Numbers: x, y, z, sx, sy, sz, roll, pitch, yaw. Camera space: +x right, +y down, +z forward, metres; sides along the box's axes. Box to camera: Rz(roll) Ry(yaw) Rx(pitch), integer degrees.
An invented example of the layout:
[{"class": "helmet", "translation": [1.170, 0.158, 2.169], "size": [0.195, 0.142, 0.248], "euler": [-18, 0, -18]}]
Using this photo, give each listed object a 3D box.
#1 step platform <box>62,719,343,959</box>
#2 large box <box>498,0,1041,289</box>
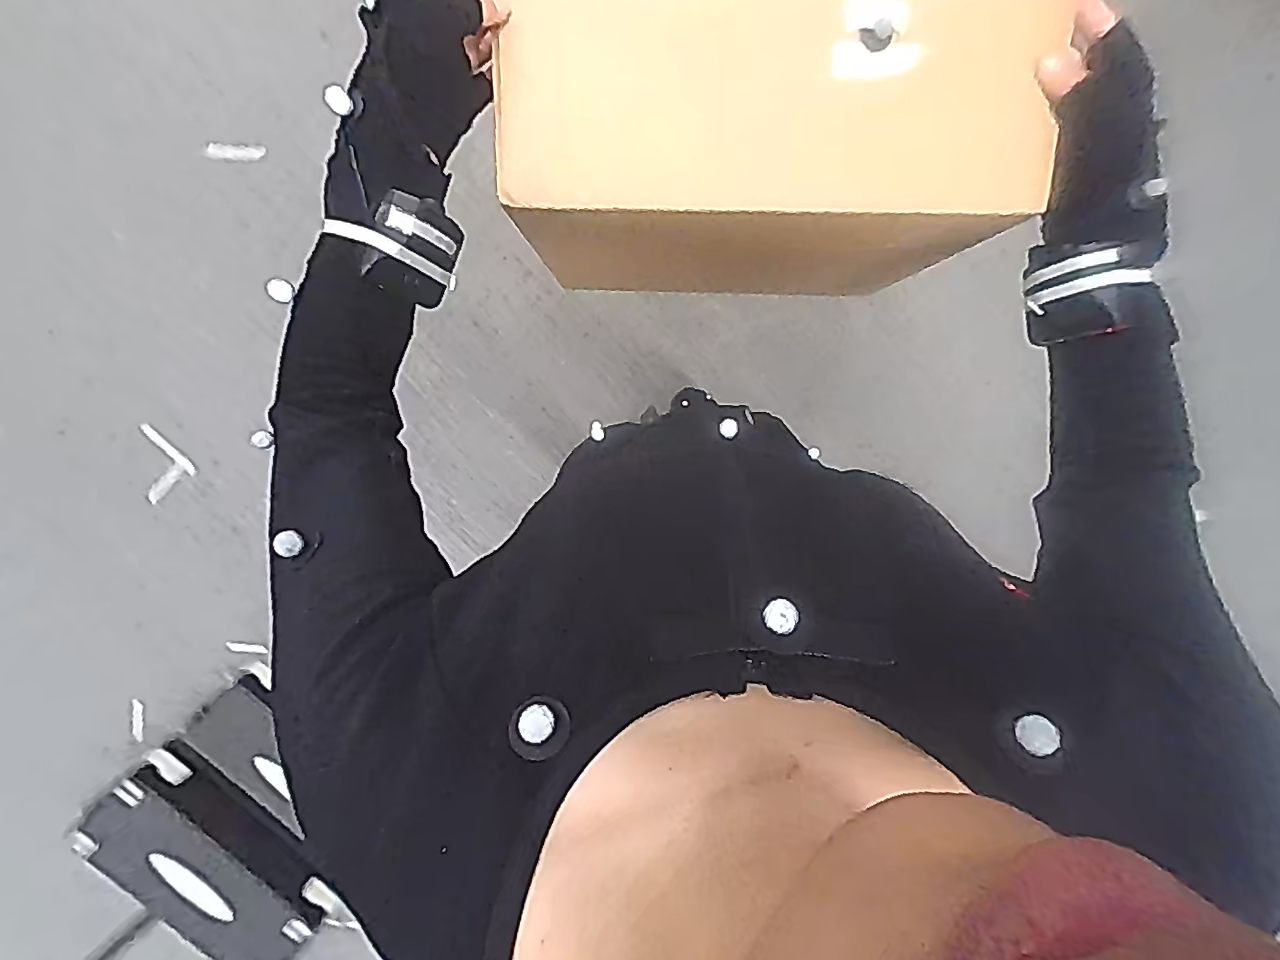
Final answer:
[{"class": "step platform", "translation": [-1.195, 1.012, 1.504], "size": [0.286, 0.204, 0.684], "euler": [-45, 94, 4]}, {"class": "large box", "translation": [0.091, -0.384, 0.539], "size": [0.408, 0.320, 0.320], "euler": [0, 99, 0]}]
